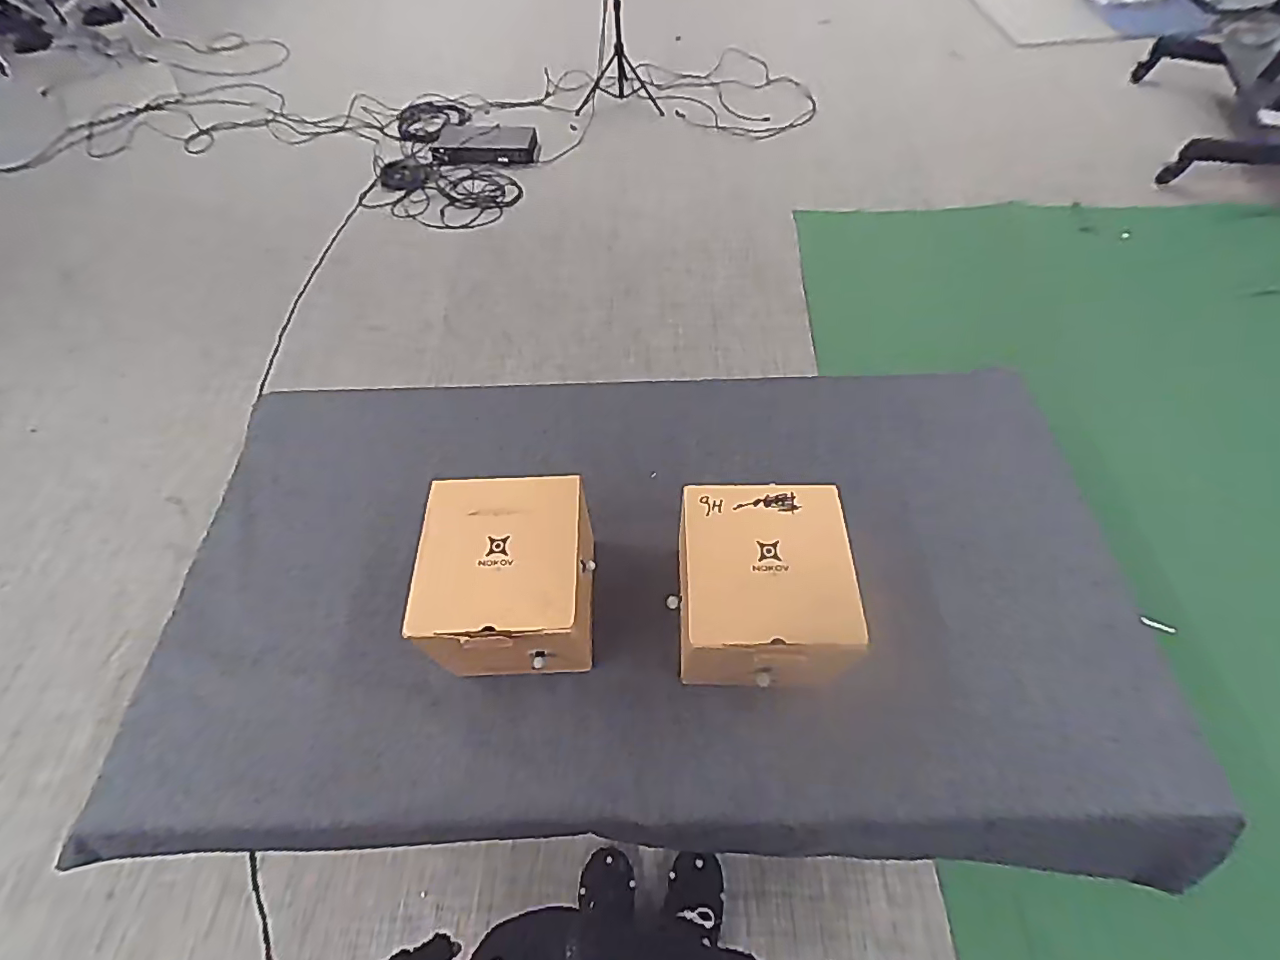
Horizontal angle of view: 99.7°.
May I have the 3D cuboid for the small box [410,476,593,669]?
[{"bbox_3d":[-0.143,0.115,0.630,0.168,0.176,0.179,-2,57,-1],"label":"small box"}]
